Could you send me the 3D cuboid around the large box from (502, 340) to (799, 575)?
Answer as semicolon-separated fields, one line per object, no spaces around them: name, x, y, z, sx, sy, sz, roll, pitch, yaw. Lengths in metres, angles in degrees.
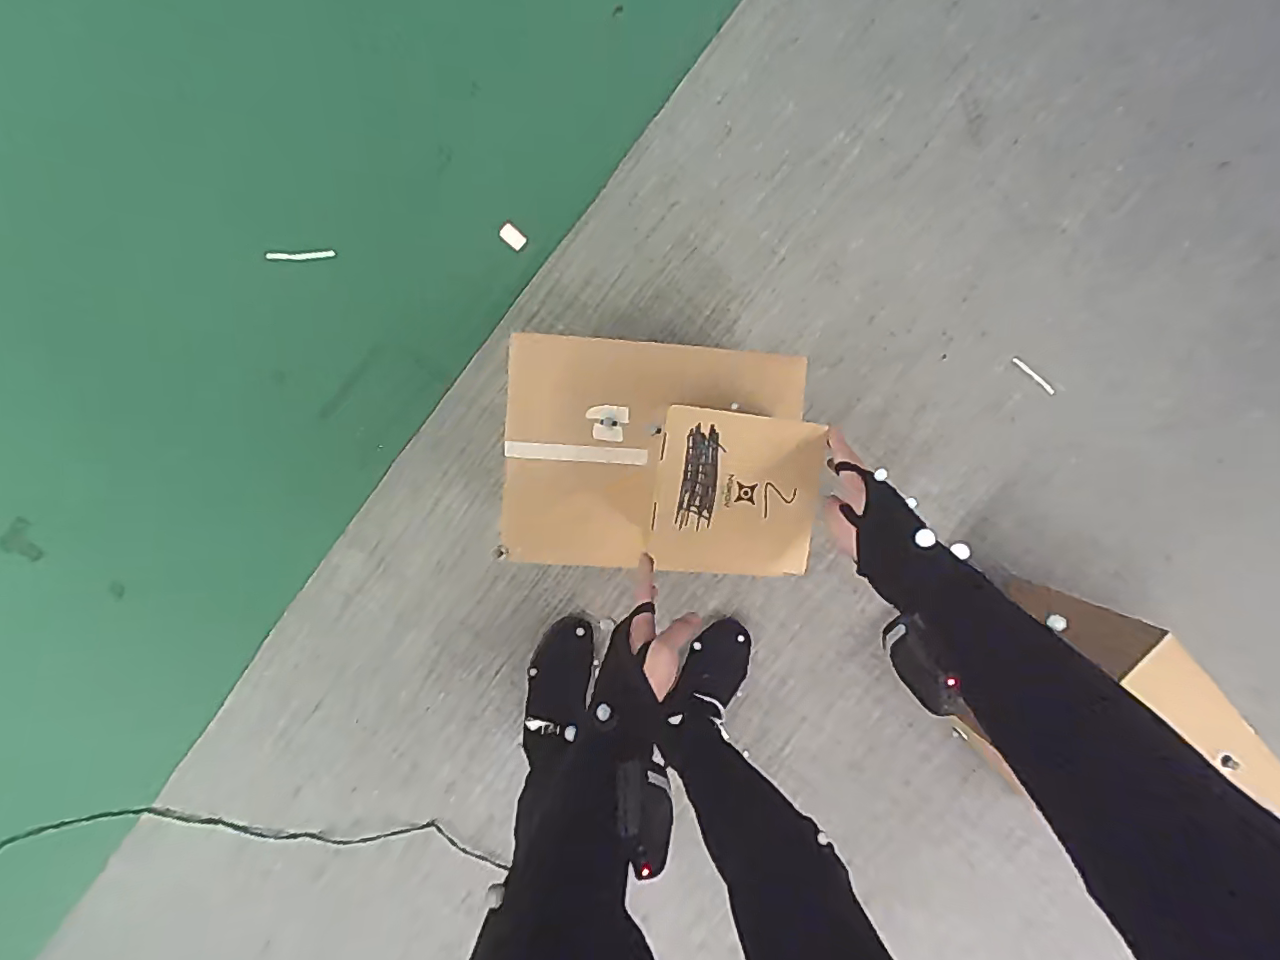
large box;0.009;-0.042;0.890;0.408;0.320;0.320;3;95;-3
